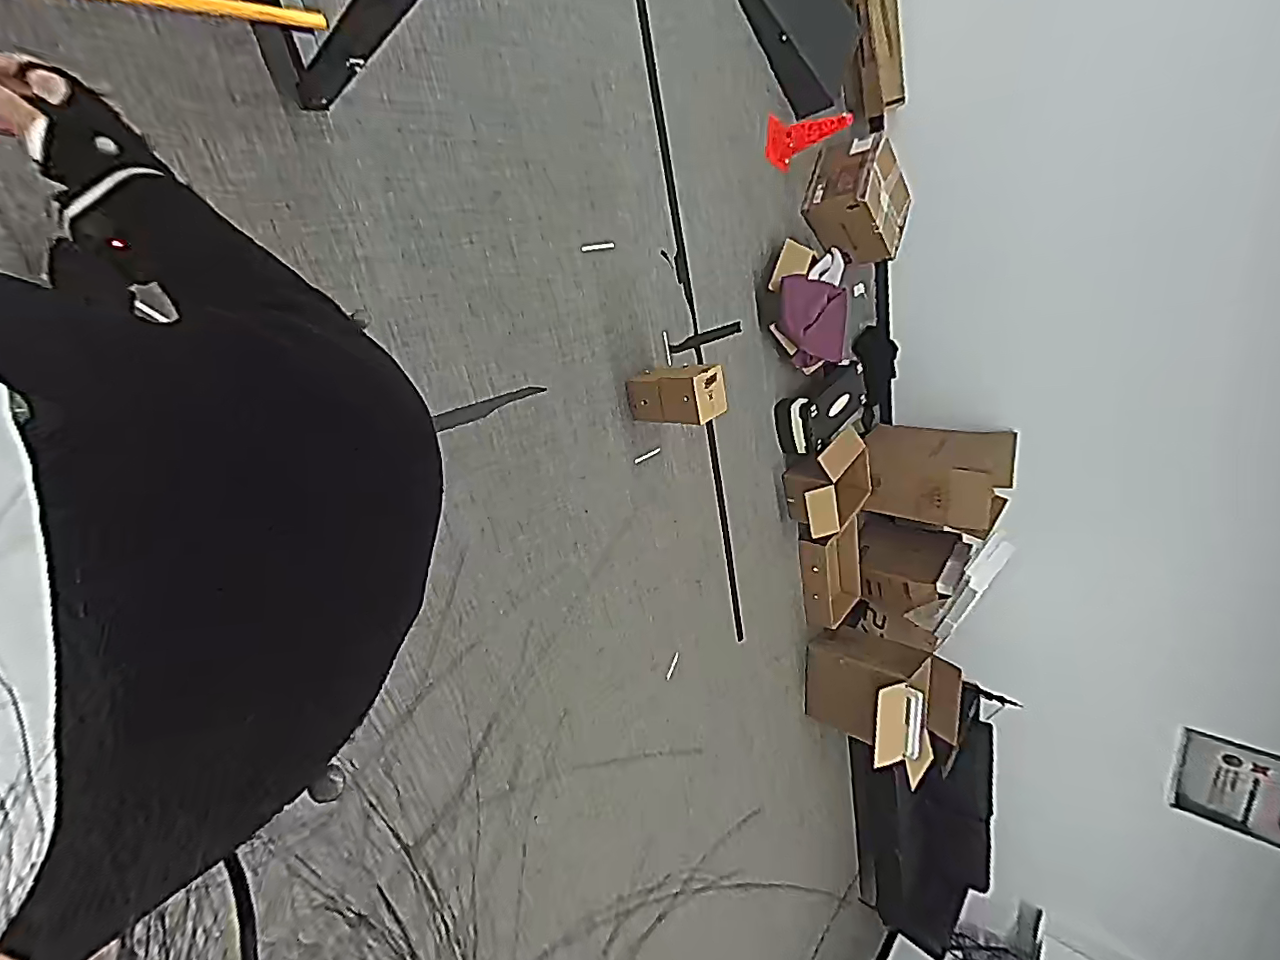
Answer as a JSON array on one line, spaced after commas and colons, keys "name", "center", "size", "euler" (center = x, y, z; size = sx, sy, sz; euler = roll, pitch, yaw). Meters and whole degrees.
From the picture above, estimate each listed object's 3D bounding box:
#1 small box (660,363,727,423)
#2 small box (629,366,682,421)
[{"name": "small box", "center": [0.191, -0.316, 1.964], "size": [0.168, 0.176, 0.179], "euler": [-32, 120, -38]}, {"name": "small box", "center": [0.077, -0.332, 2.084], "size": [0.179, 0.176, 0.168], "euler": [-32, 119, -37]}]
